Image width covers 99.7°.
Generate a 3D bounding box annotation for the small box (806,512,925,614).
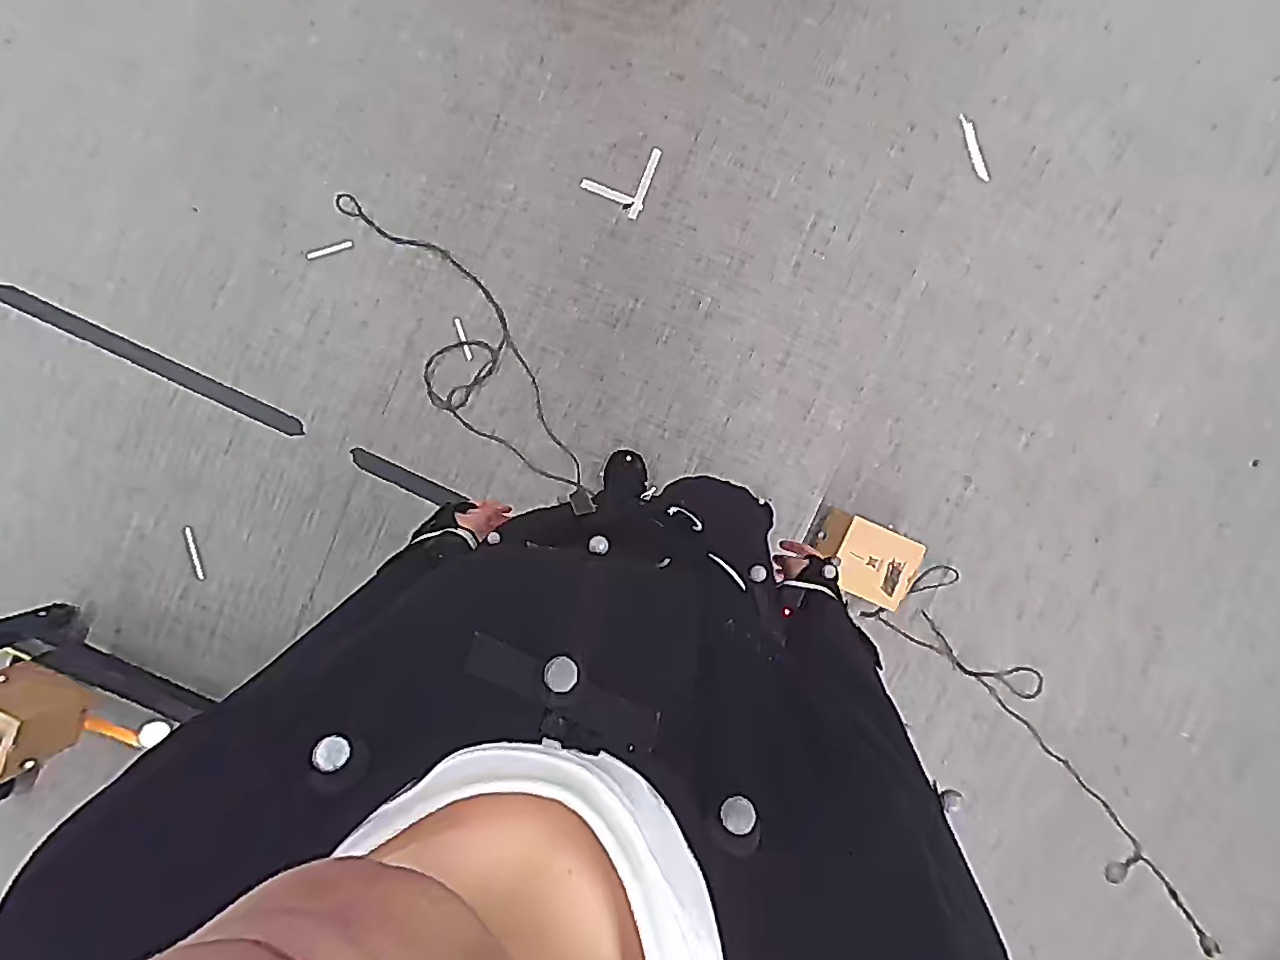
[{"bbox_3d":[0.523,0.186,1.278,0.179,0.176,0.168,24,94,0],"label":"small box"}]
